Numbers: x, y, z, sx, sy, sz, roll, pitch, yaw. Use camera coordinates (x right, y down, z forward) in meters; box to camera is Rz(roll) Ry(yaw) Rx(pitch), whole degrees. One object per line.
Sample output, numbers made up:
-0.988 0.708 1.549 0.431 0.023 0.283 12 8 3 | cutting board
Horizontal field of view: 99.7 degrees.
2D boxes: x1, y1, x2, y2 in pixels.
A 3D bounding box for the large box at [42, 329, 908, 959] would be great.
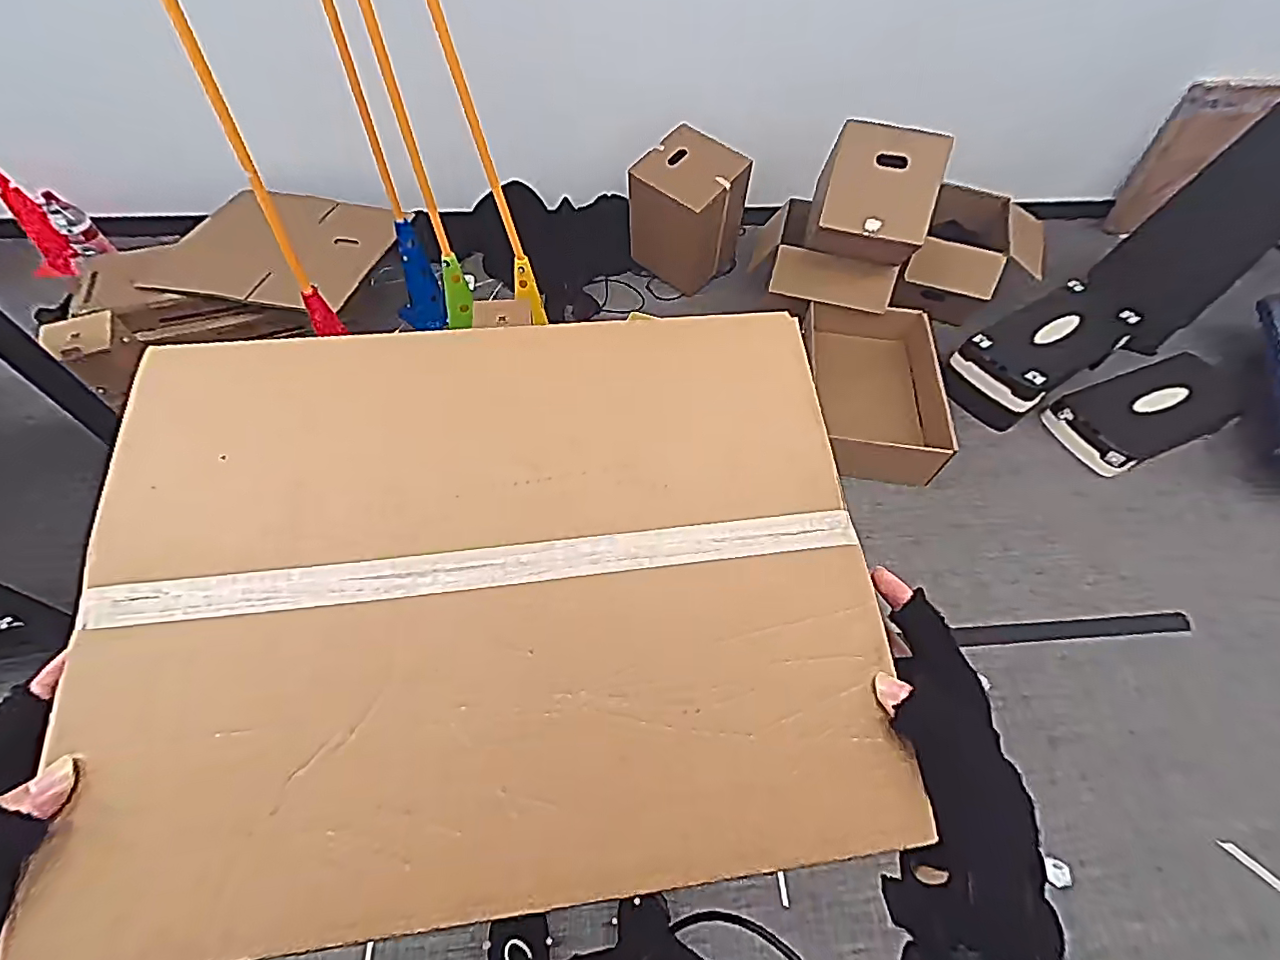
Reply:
-0.087 0.110 0.439 0.408 0.320 0.320 -5 69 -6 | large box
